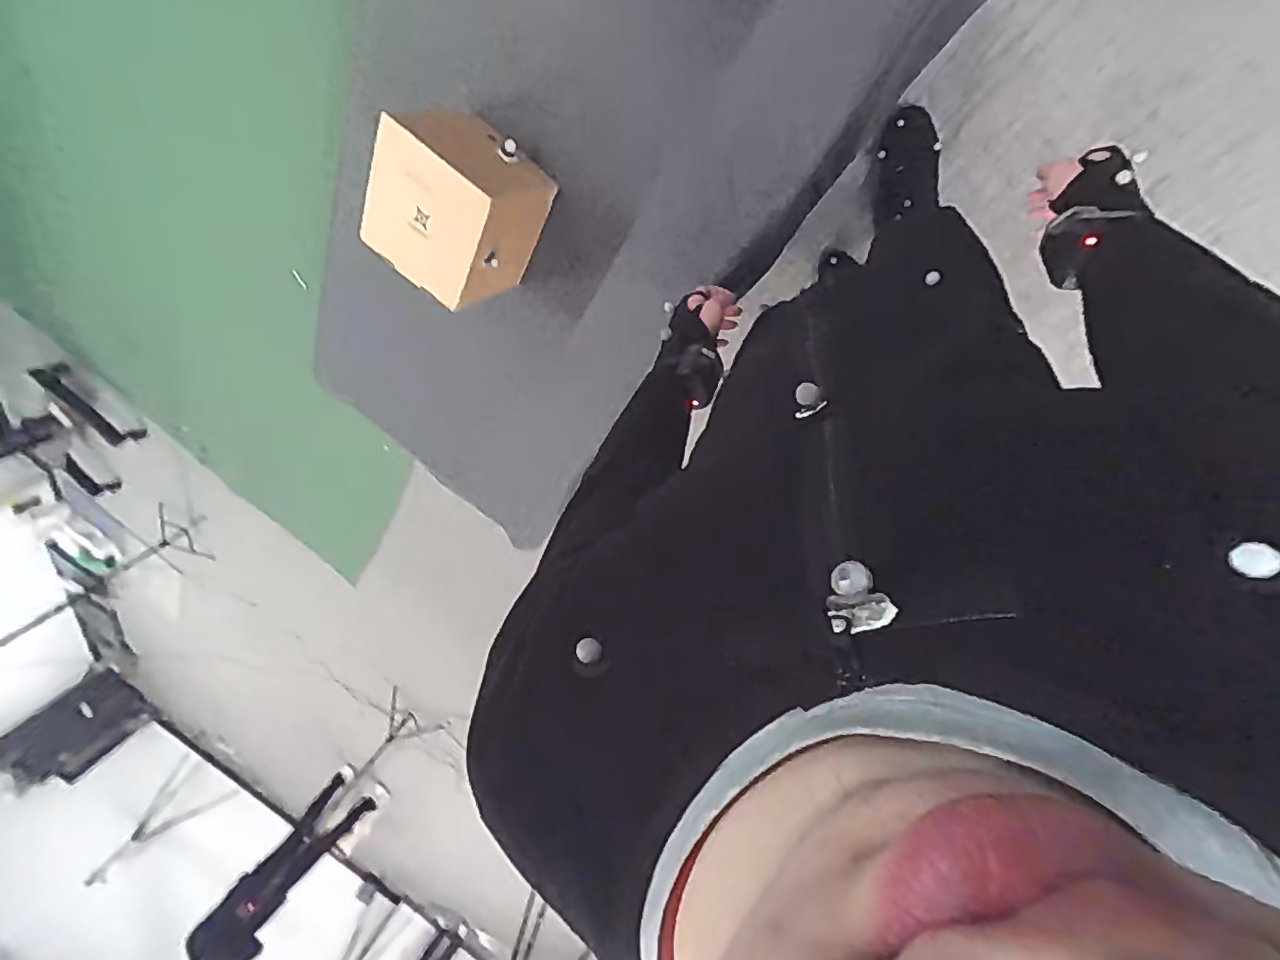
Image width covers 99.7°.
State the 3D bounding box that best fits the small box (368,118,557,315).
[{"bbox_3d":[-0.243,-0.370,0.758,0.168,0.176,0.179,37,130,-2],"label":"small box"}]
